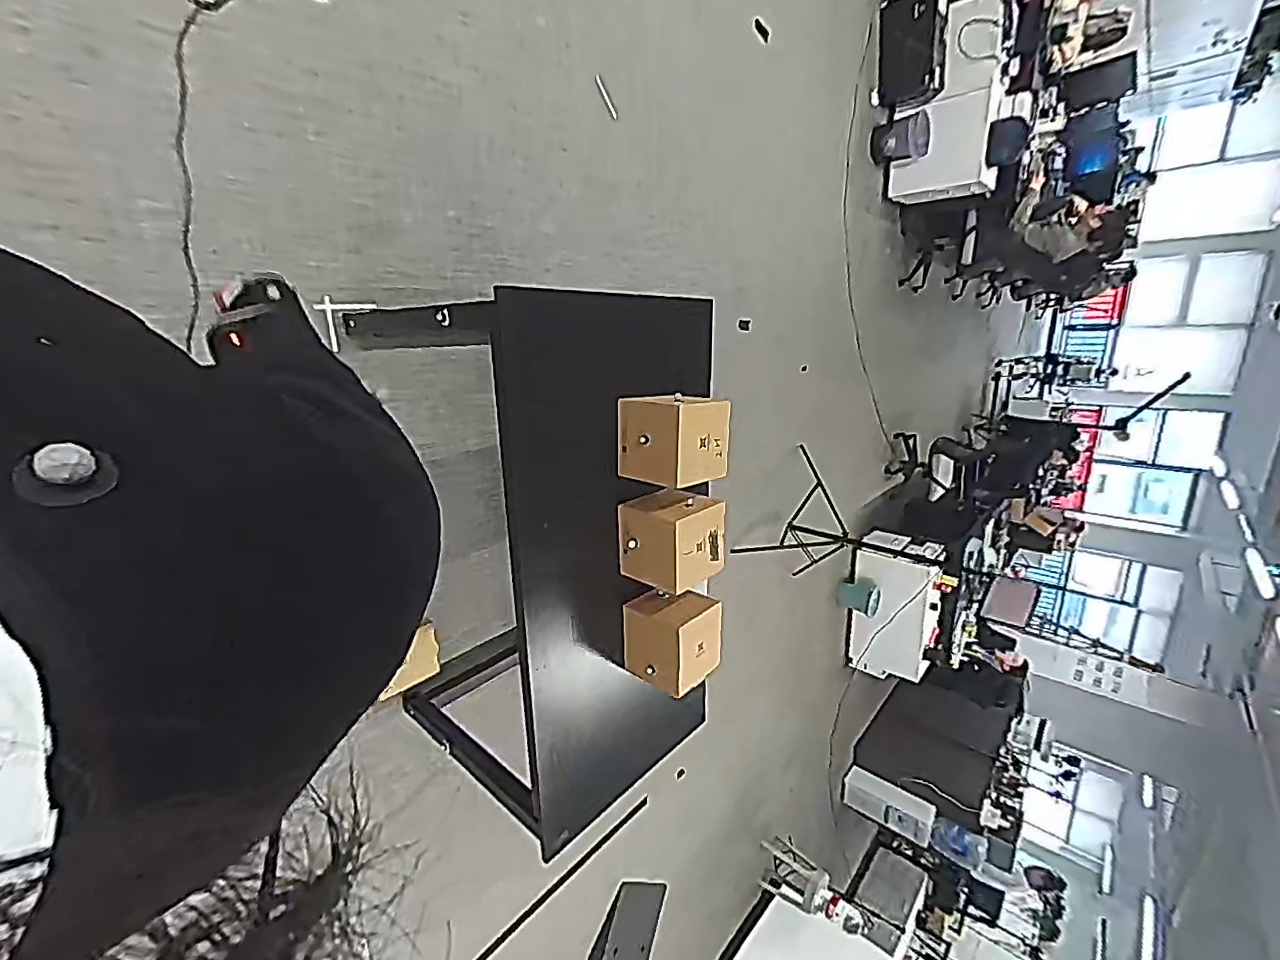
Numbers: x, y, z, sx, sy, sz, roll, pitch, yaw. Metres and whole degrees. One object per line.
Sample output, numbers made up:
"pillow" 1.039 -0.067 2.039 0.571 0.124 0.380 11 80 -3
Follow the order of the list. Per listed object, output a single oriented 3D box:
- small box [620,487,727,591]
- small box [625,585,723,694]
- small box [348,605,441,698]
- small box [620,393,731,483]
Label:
"small box" 0.073 0.121 1.202 0.179 0.176 0.168 -18 112 -44
"small box" 0.078 0.360 1.270 0.168 0.176 0.179 -18 111 -46
"small box" -0.695 0.476 1.536 0.179 0.176 0.168 -19 112 -45
"small box" 0.072 -0.096 1.146 0.179 0.176 0.168 -13 110 -46
